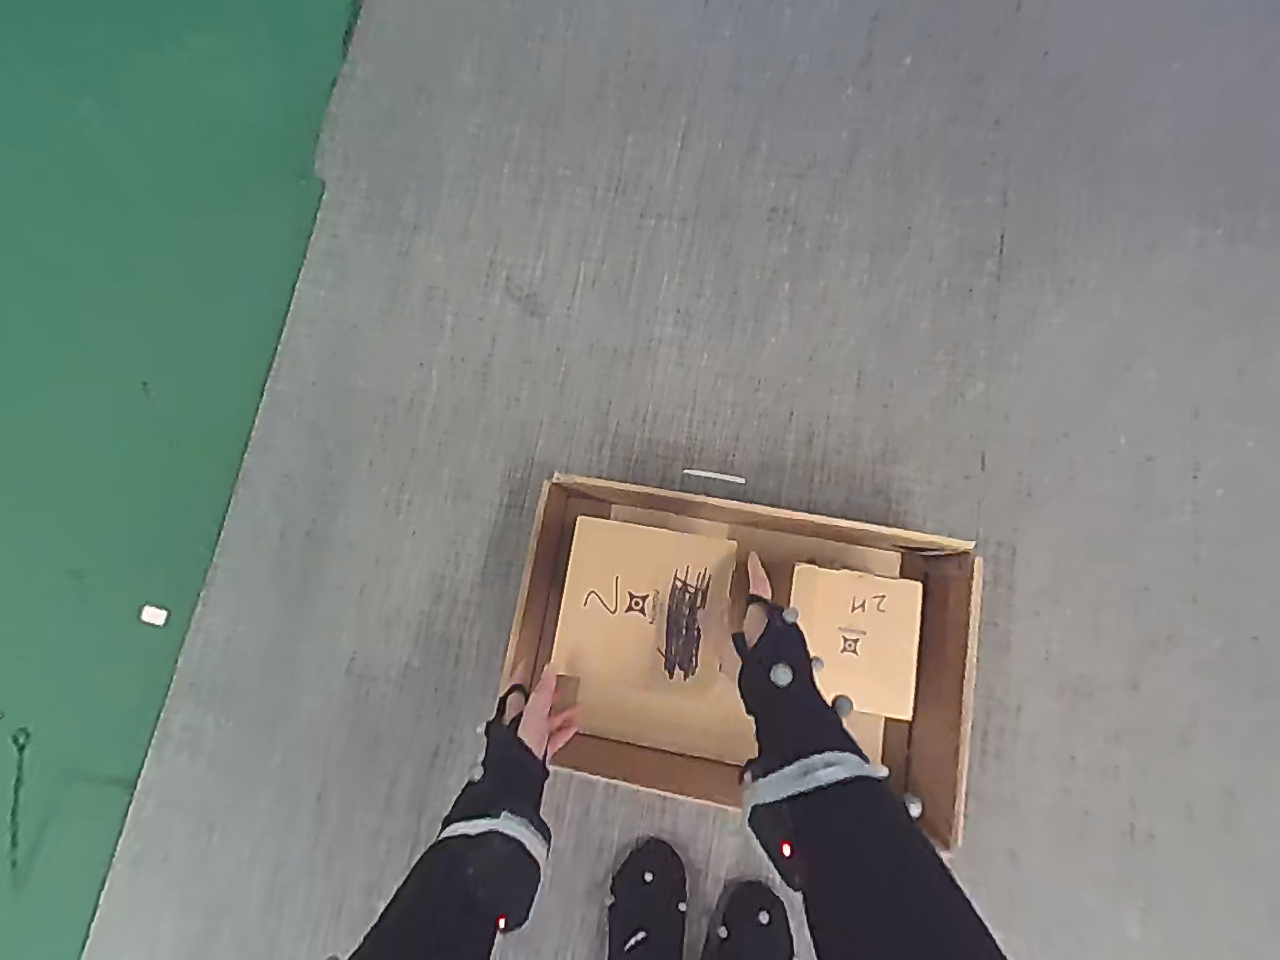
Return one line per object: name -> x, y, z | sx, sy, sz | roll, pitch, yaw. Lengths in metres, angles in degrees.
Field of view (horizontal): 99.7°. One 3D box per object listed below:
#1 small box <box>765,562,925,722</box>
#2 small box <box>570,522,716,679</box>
small box -> 0.279, 0.217, 0.771 | 0.168, 0.176, 0.179 | 9, 81, 6
small box -> 0.010, 0.172, 0.800 | 0.168, 0.176, 0.179 | 13, 81, 5
